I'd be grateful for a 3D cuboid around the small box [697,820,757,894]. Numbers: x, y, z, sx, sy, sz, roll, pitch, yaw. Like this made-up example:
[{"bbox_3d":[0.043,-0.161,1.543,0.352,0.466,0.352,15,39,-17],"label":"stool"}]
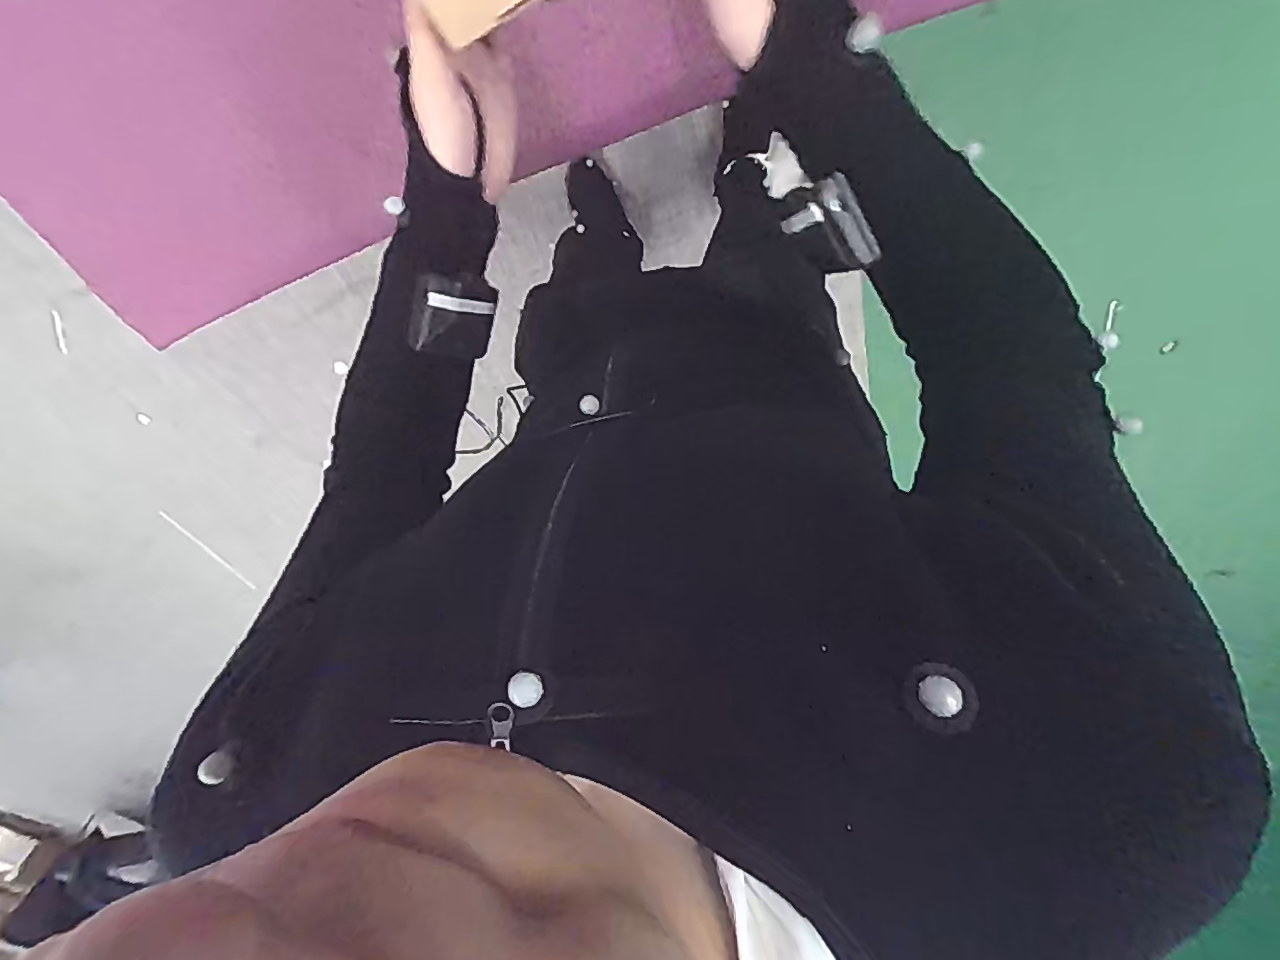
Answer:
[{"bbox_3d":[0.301,1.307,1.884,0.168,0.176,0.179,-14,125,12],"label":"small box"}]
